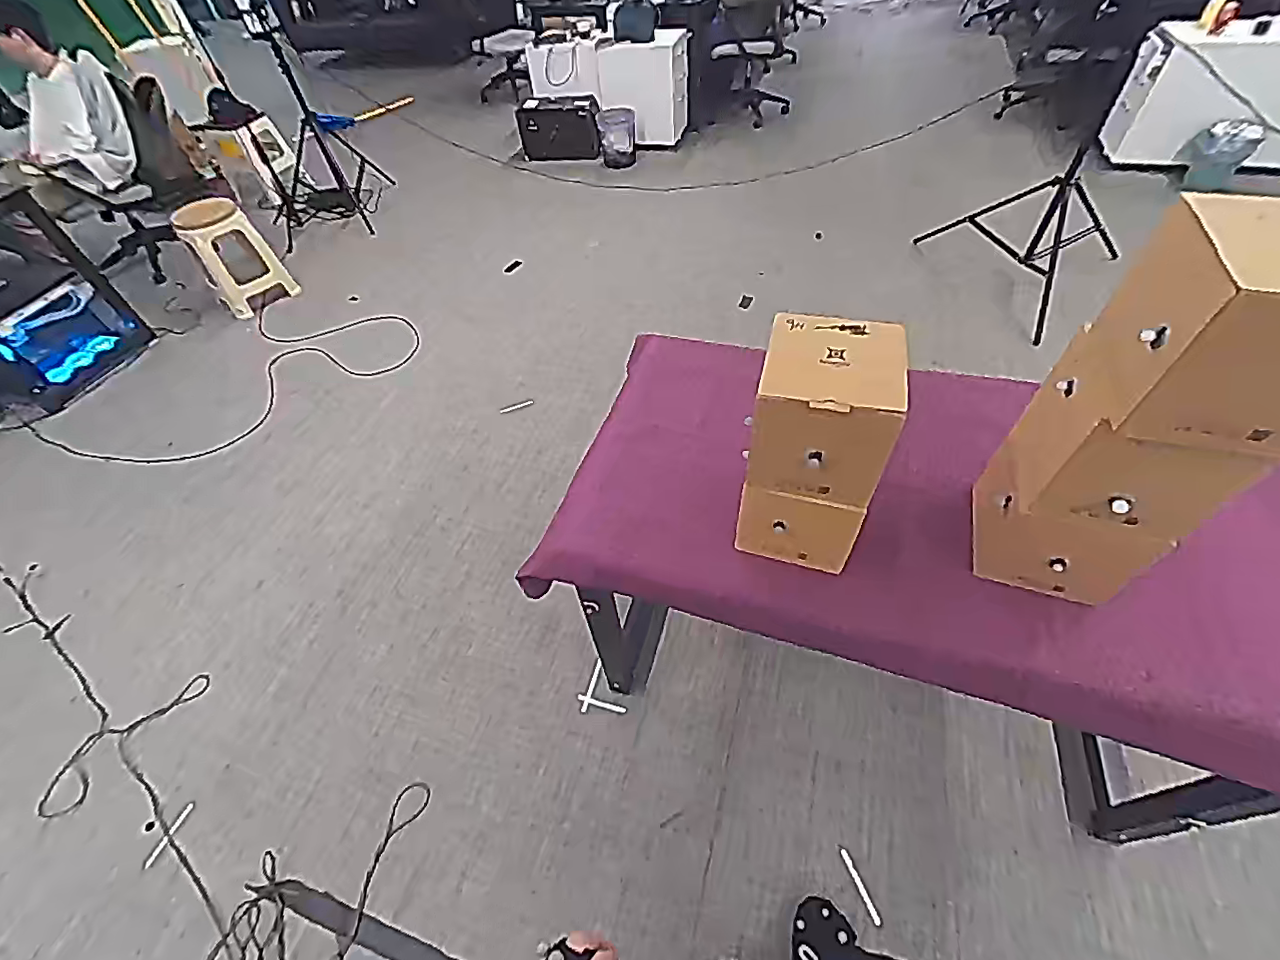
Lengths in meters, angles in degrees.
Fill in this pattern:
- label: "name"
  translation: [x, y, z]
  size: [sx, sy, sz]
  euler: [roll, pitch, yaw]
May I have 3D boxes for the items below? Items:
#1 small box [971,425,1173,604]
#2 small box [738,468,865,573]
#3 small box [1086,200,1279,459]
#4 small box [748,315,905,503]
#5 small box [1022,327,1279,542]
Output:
- label: "small box"
  translation: [0.601, 0.052, 0.781]
  size: [0.168, 0.176, 0.179]
  euler: [14, 53, 16]
- label: "small box"
  translation: [0.252, 0.019, 0.841]
  size: [0.168, 0.176, 0.179]
  euler: [13, 51, 15]
- label: "small box"
  translation: [0.577, -0.142, 0.518]
  size: [0.168, 0.176, 0.179]
  euler: [12, 52, 13]
- label: "small box"
  translation: [0.242, -0.092, 0.720]
  size: [0.168, 0.176, 0.179]
  euler: [11, 51, 13]
- label: "small box"
  translation: [0.594, -0.055, 0.656]
  size: [0.168, 0.176, 0.179]
  euler: [14, 53, 16]
